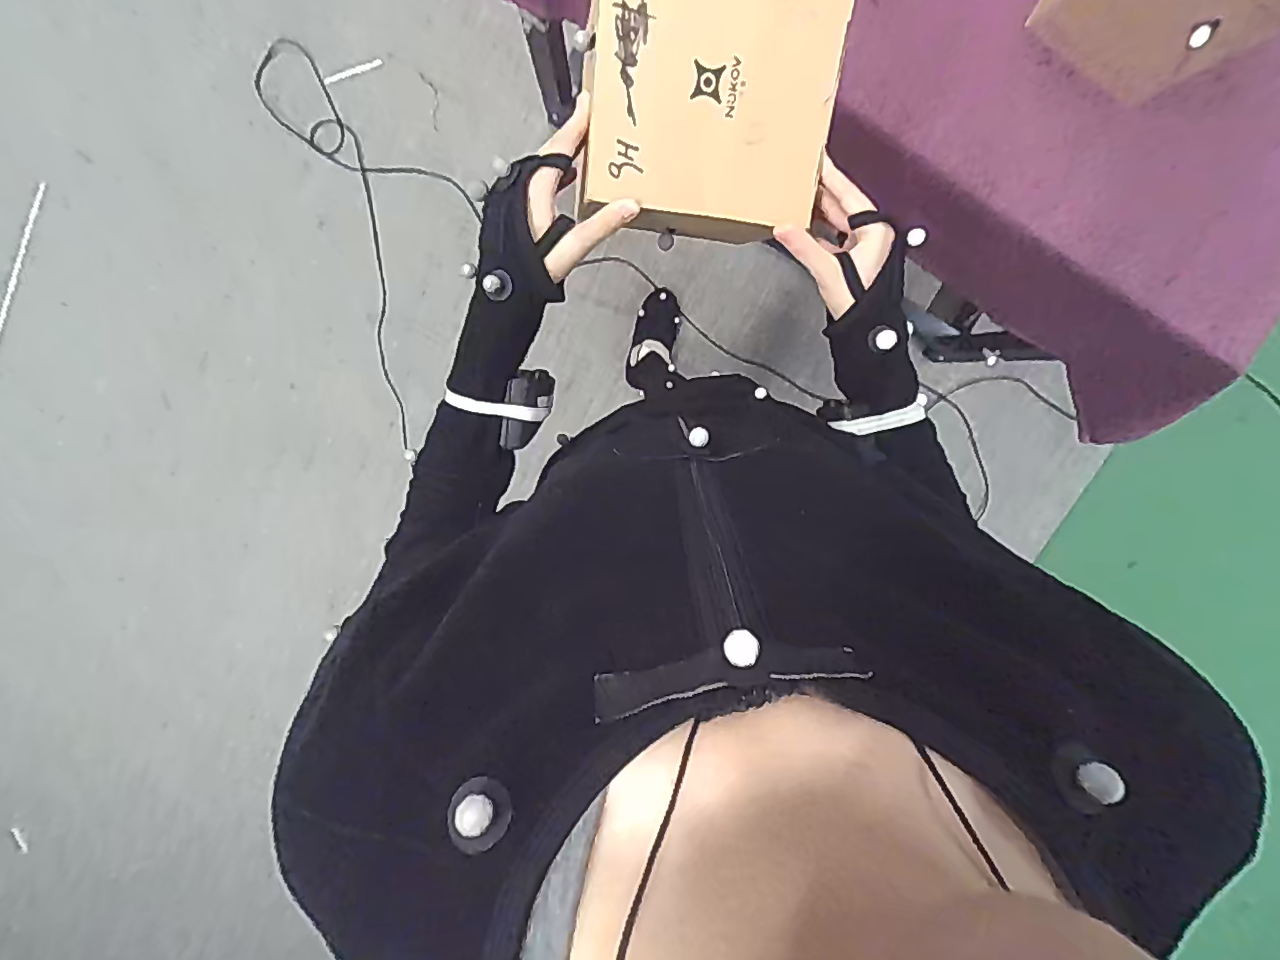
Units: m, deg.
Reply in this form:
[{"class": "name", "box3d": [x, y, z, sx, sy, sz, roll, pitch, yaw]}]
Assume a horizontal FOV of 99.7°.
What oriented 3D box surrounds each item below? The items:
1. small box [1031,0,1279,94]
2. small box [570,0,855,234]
[{"class": "small box", "box3d": [0.584, -0.559, 0.574, 0.179, 0.176, 0.168, 29, 99, -8]}, {"class": "small box", "box3d": [0.041, -0.306, 0.448, 0.179, 0.176, 0.168, 4, 110, -12]}]
